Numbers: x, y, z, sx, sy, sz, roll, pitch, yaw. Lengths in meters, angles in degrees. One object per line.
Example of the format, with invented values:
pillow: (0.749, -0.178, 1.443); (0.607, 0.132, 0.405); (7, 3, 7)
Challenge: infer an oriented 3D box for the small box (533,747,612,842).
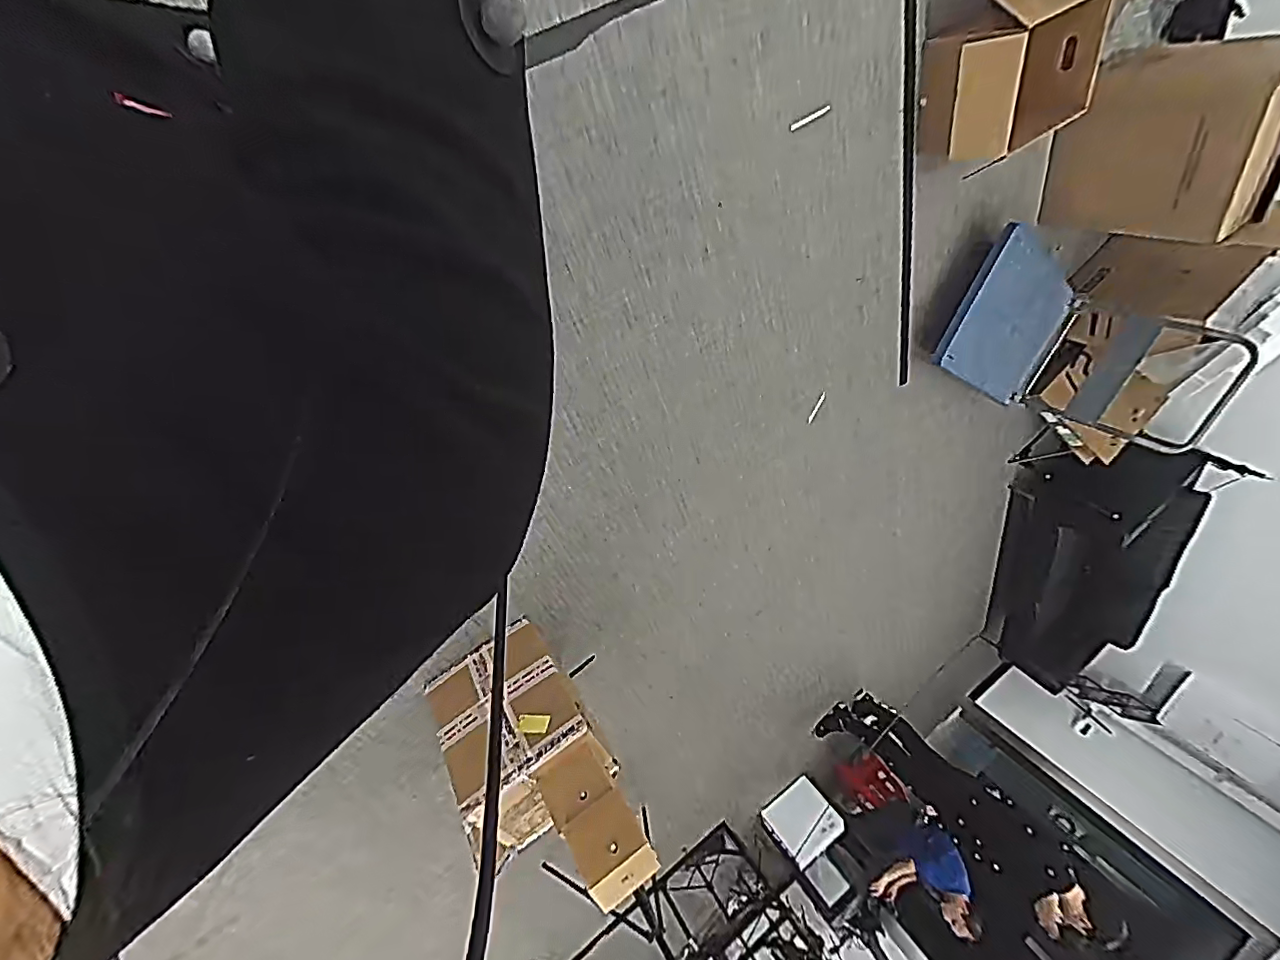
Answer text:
small box: (-0.172, 0.894, 1.518); (0.179, 0.176, 0.168); (-33, 129, -15)

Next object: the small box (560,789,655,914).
small box: (-0.089, 0.946, 1.388); (0.179, 0.176, 0.168); (-30, 127, -19)
